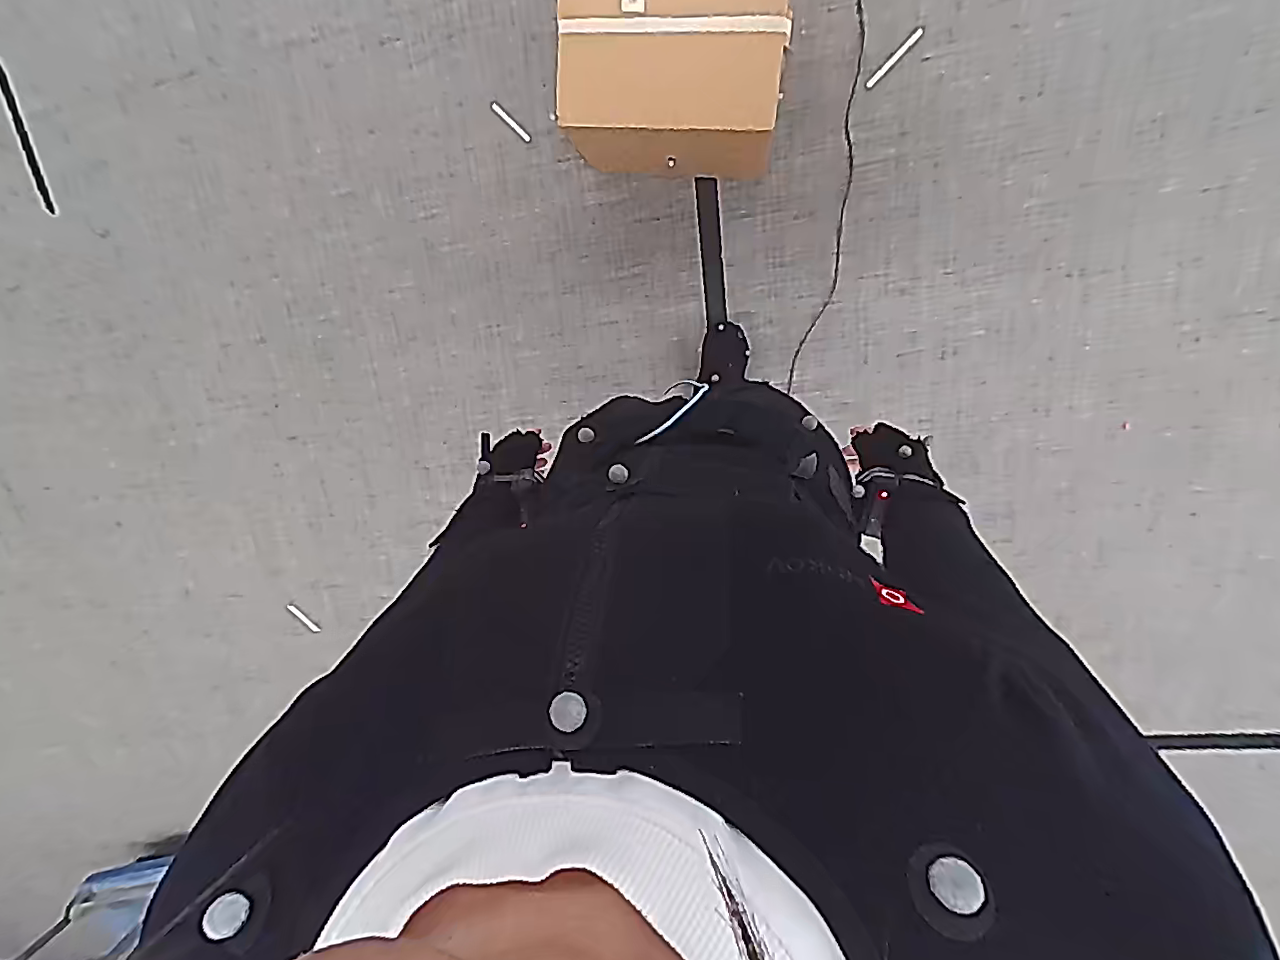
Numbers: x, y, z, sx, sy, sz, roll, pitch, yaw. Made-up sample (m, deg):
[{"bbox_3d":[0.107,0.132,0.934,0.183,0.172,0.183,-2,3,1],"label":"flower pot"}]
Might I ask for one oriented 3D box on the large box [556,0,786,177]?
[{"bbox_3d":[0.073,-0.821,1.087,0.408,0.320,0.320,7,105,9],"label":"large box"}]
